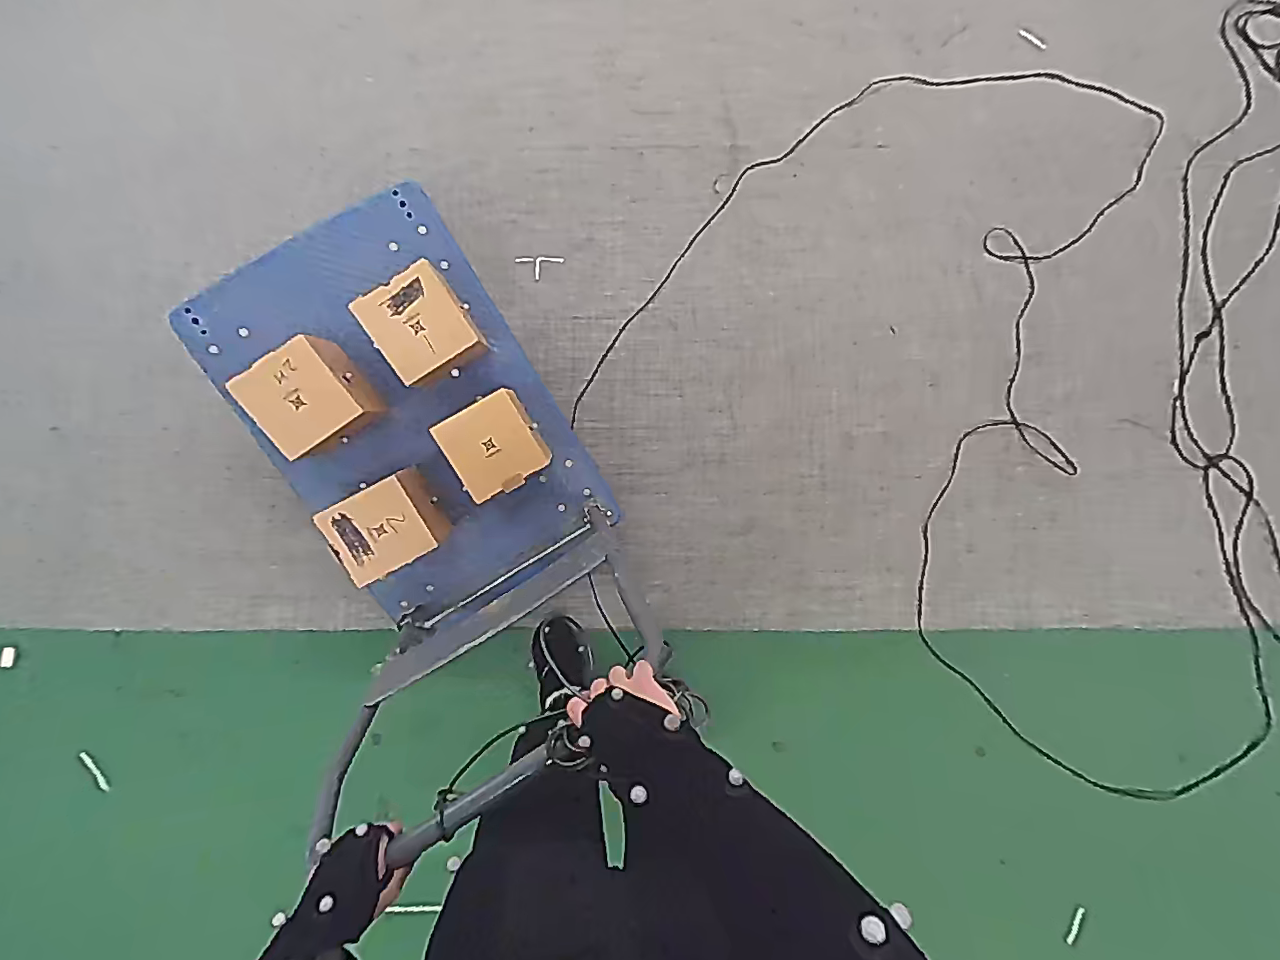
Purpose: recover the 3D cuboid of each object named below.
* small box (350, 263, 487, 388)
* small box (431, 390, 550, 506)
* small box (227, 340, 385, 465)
[{"bbox_3d":[-0.430,-0.297,1.083,0.168,0.176,0.179,-34,102,-2],"label":"small box"},{"bbox_3d":[-0.304,-0.071,1.133,0.168,0.176,0.179,-31,102,-3],"label":"small box"},{"bbox_3d":[-0.643,-0.153,1.071,0.168,0.176,0.179,-36,101,-3],"label":"small box"}]
